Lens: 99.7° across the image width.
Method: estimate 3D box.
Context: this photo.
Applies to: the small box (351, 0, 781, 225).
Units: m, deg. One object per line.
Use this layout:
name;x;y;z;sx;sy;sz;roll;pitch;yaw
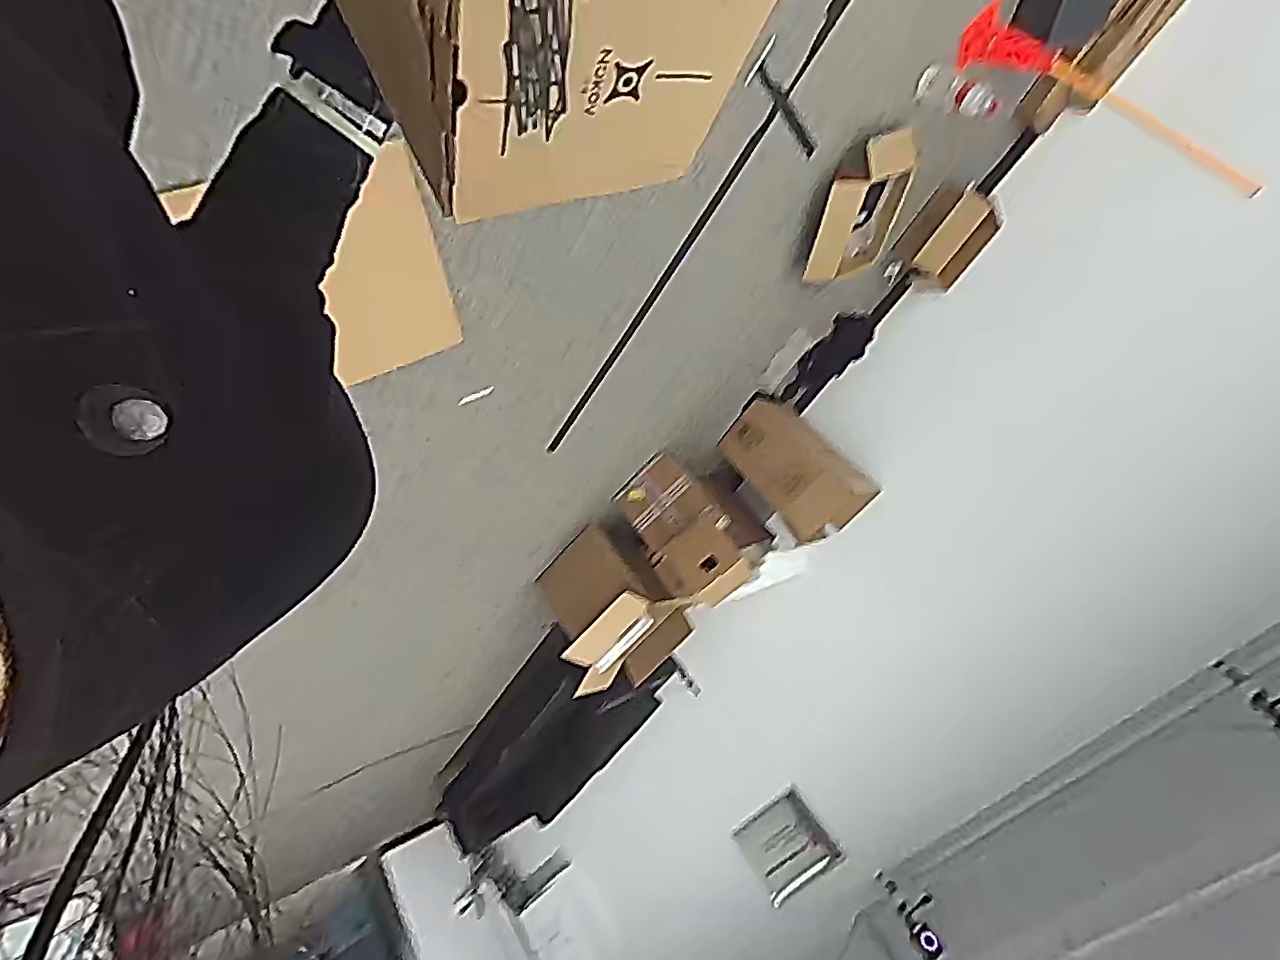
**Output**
small box;-0.048;-0.275;0.286;0.179;0.176;0.168;-26;175;-24
